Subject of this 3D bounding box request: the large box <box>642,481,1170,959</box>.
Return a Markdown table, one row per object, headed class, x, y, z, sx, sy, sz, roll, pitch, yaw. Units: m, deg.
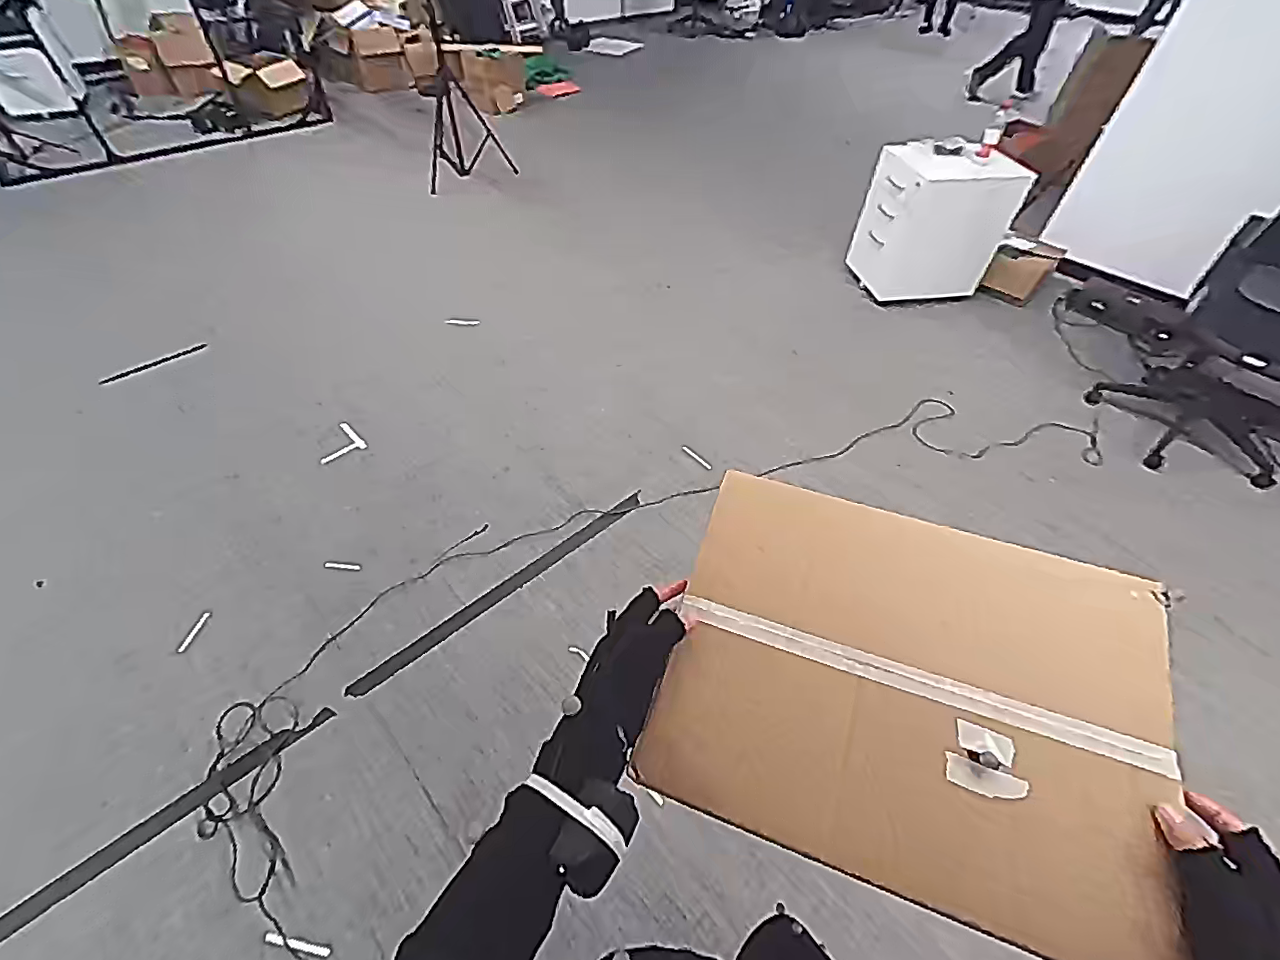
| class | x | y | z | sx | sy | sz | roll | pitch | yaw |
| --- | --- | --- | --- | --- | --- | --- | --- | --- | --- |
| large box | 0.246 | 0.247 | 0.615 | 0.408 | 0.320 | 0.320 | 16 | 65 | 14 |
